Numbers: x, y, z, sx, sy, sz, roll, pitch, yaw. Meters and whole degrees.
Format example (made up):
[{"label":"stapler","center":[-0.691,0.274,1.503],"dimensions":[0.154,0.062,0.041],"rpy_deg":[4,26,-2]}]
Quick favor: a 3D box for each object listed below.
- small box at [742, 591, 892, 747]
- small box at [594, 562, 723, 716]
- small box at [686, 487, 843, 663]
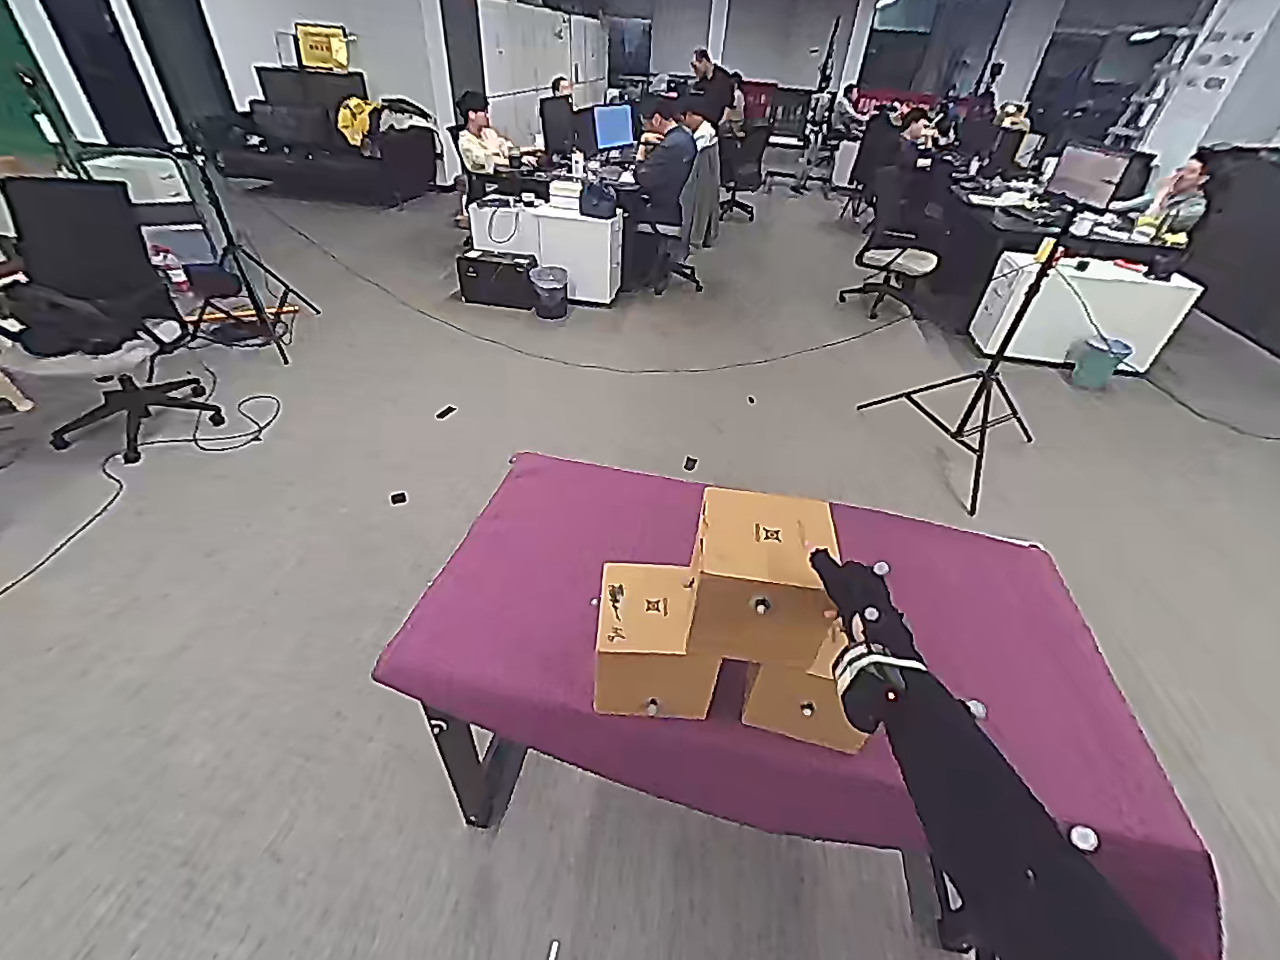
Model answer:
[{"label":"small box","center":[0.266,0.282,0.835],"dimensions":[0.179,0.176,0.168],"rpy_deg":[11,38,11]},{"label":"small box","center":[0.024,0.252,0.852],"dimensions":[0.179,0.176,0.168],"rpy_deg":[4,37,-2]},{"label":"small box","center":[0.161,0.132,0.752],"dimensions":[0.179,0.176,0.168],"rpy_deg":[8,39,3]}]
